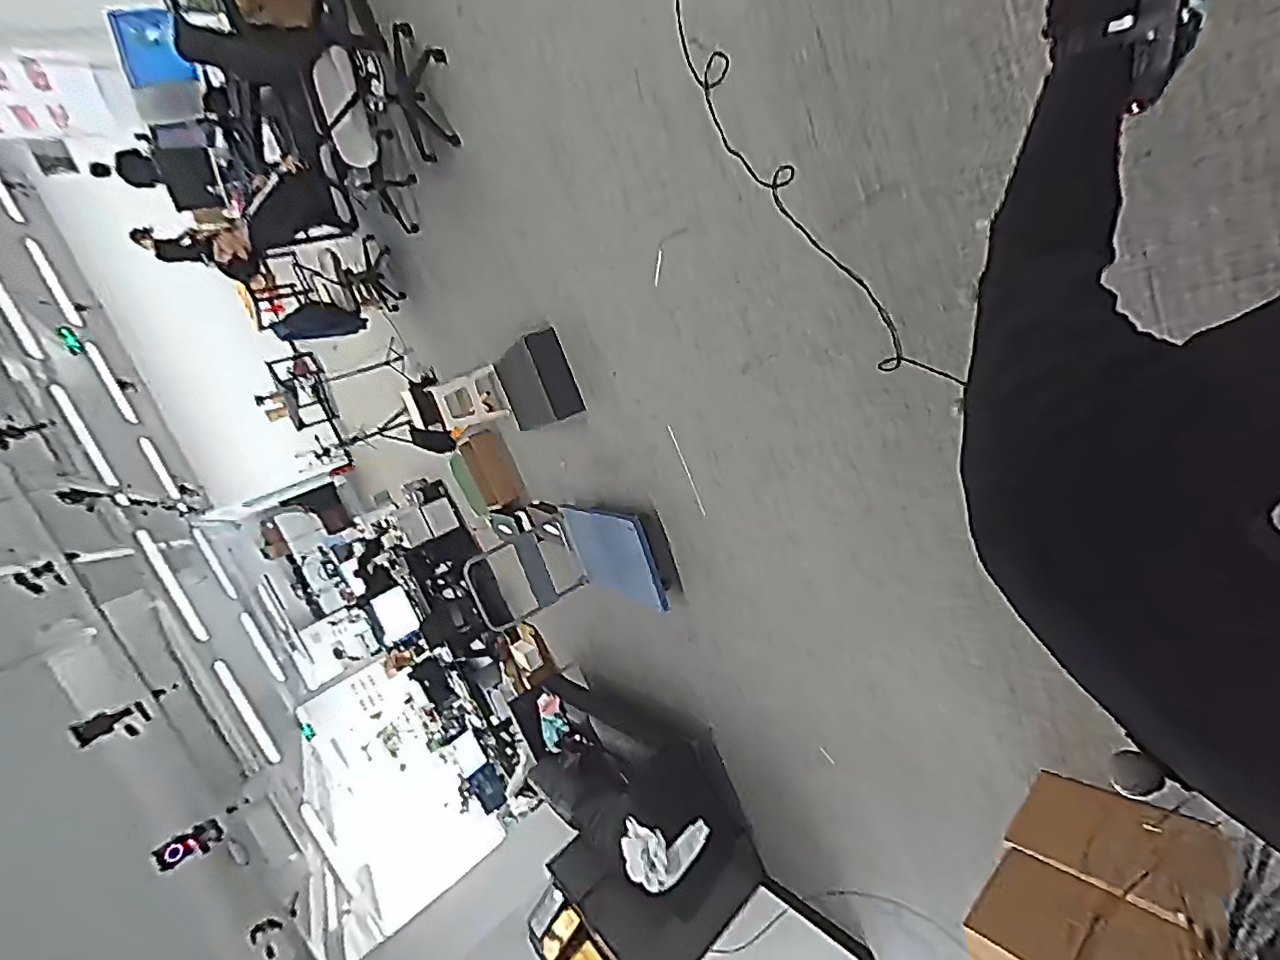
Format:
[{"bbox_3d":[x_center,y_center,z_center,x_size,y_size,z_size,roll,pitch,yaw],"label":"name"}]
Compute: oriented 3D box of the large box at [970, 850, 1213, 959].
[{"bbox_3d":[1.132,1.248,1.353,0.408,0.320,0.320,-5,105,57],"label":"large box"}]
